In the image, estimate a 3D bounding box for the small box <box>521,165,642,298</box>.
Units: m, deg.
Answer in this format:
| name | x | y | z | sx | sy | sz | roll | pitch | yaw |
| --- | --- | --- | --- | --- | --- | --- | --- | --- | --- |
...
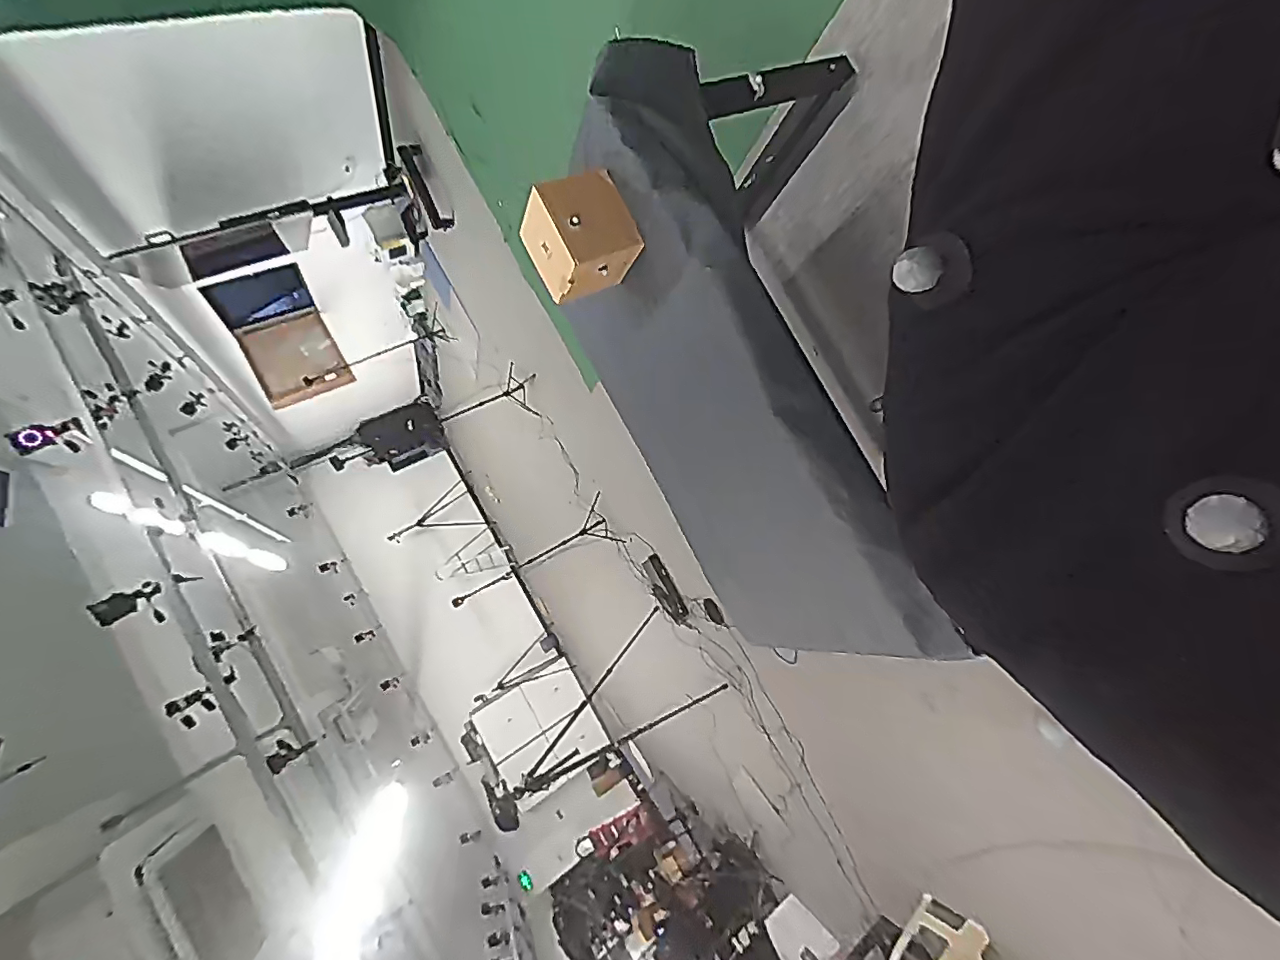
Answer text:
| name | x | y | z | sx | sy | sz | roll | pitch | yaw |
| --- | --- | --- | --- | --- | --- | --- | --- | --- | --- |
| small box | -0.121 | -0.516 | 1.123 | 0.179 | 0.176 | 0.168 | 63 | 156 | -2 |
